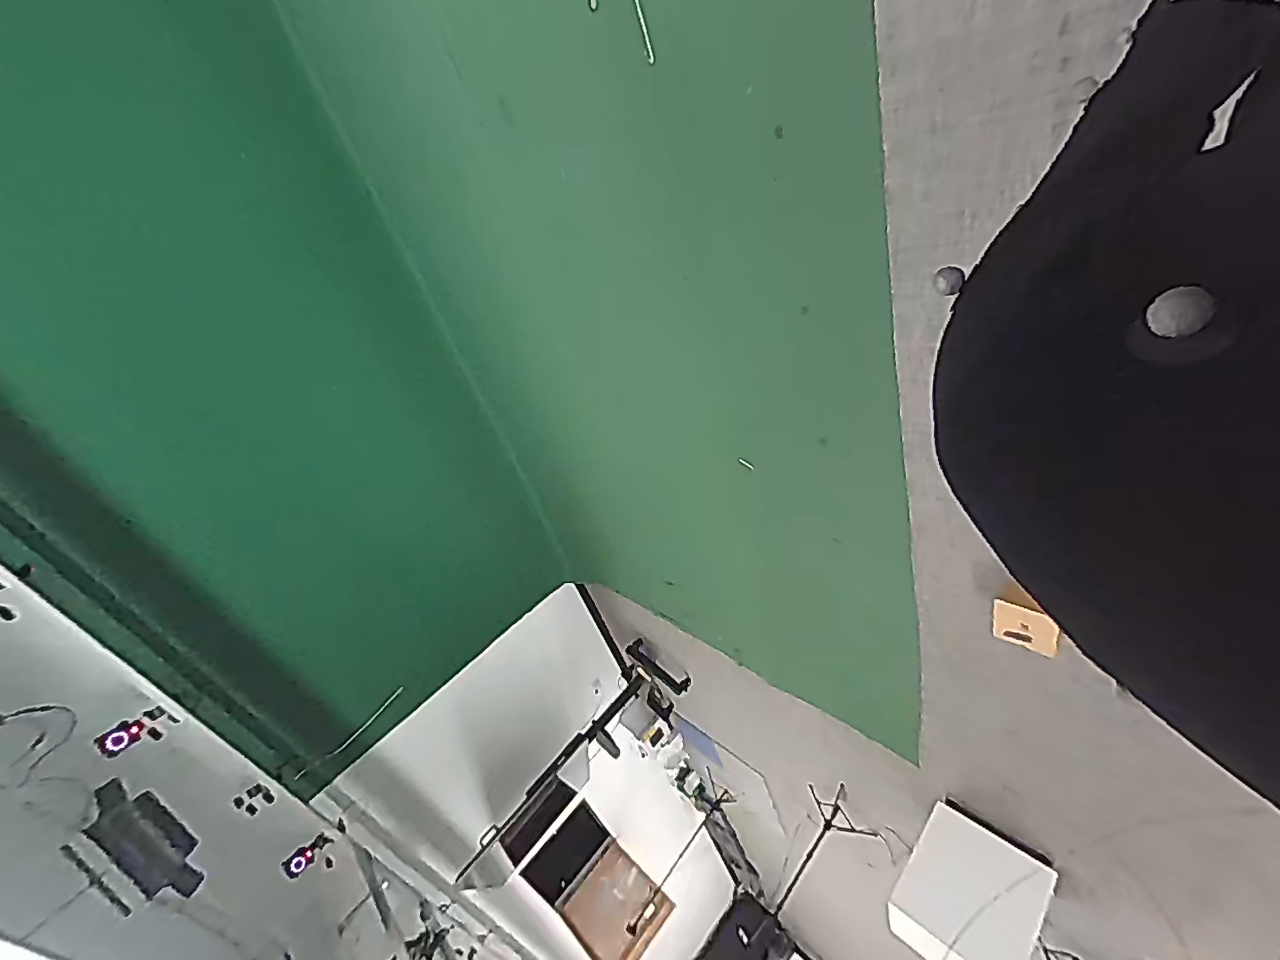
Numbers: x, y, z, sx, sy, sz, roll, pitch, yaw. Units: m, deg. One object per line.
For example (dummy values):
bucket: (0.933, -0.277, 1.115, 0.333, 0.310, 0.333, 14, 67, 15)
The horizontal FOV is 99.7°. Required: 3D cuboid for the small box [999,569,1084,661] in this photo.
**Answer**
small box: (1.222, 0.407, 1.647, 0.168, 0.176, 0.179, 17, 136, 47)
